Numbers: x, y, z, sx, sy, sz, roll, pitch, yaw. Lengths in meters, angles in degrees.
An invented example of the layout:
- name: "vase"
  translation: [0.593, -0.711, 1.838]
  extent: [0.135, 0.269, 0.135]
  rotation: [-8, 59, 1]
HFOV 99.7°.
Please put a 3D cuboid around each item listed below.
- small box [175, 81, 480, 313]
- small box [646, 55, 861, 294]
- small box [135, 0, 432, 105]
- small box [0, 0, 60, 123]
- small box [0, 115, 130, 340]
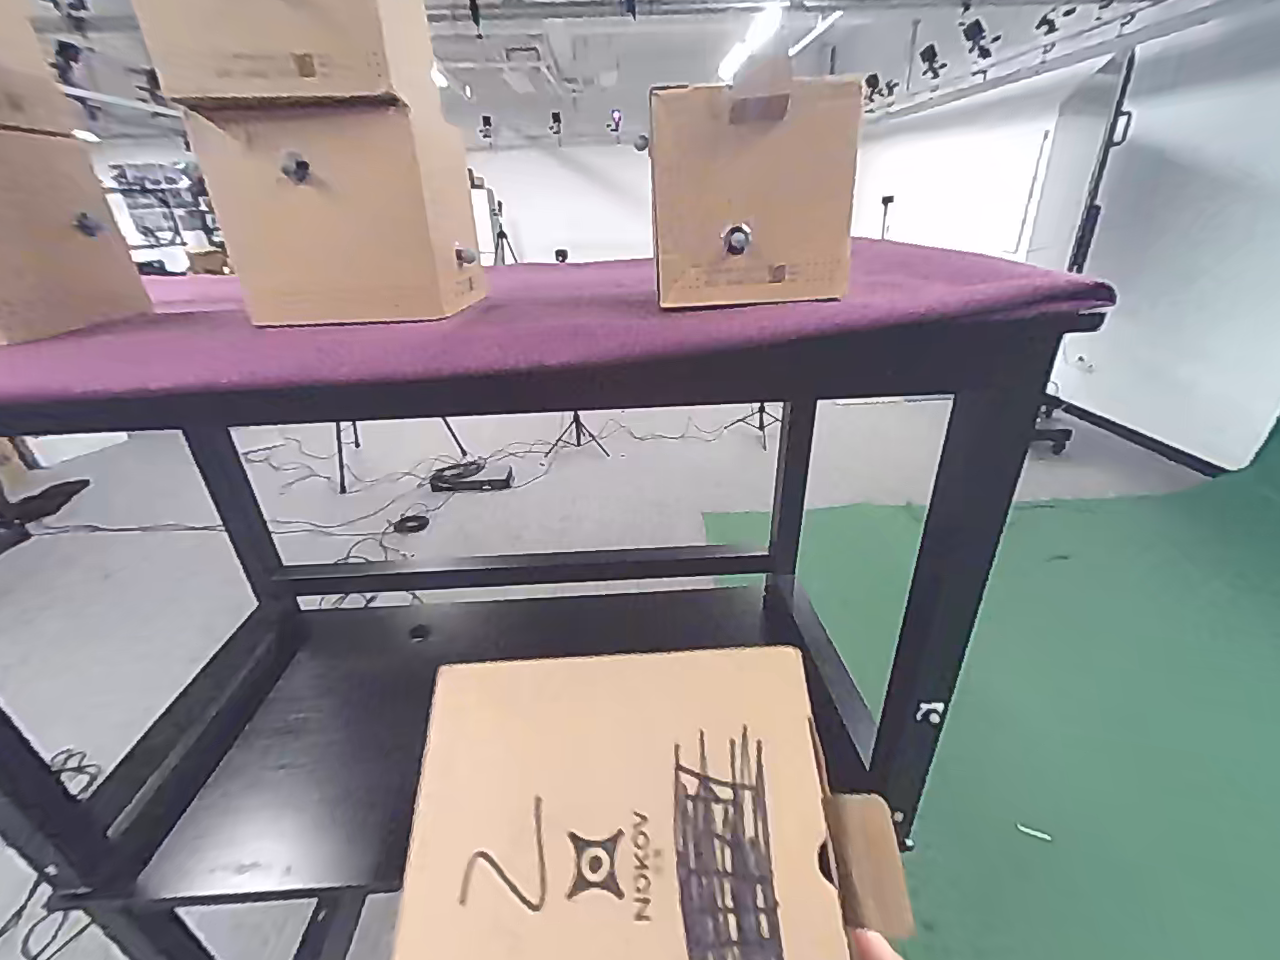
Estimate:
- name: "small box"
  translation: [-0.269, -0.257, 0.517]
  extent: [0.179, 0.176, 0.168]
  rotation: [-2, 26, -1]
- name: "small box"
  translation: [0.091, -0.274, 0.517]
  extent: [0.168, 0.176, 0.179]
  rotation: [-3, 25, 2]
- name: "small box"
  translation: [-0.280, -0.400, 0.435]
  extent: [0.168, 0.176, 0.179]
  rotation: [-5, 27, -5]
- name: "small box"
  translation: [-0.628, -0.369, 0.404]
  extent: [0.179, 0.176, 0.168]
  rotation: [-6, 28, -5]
- name: "small box"
  translation: [-0.616, -0.222, 0.478]
  extent: [0.168, 0.176, 0.179]
  rotation: [-5, 28, -4]
